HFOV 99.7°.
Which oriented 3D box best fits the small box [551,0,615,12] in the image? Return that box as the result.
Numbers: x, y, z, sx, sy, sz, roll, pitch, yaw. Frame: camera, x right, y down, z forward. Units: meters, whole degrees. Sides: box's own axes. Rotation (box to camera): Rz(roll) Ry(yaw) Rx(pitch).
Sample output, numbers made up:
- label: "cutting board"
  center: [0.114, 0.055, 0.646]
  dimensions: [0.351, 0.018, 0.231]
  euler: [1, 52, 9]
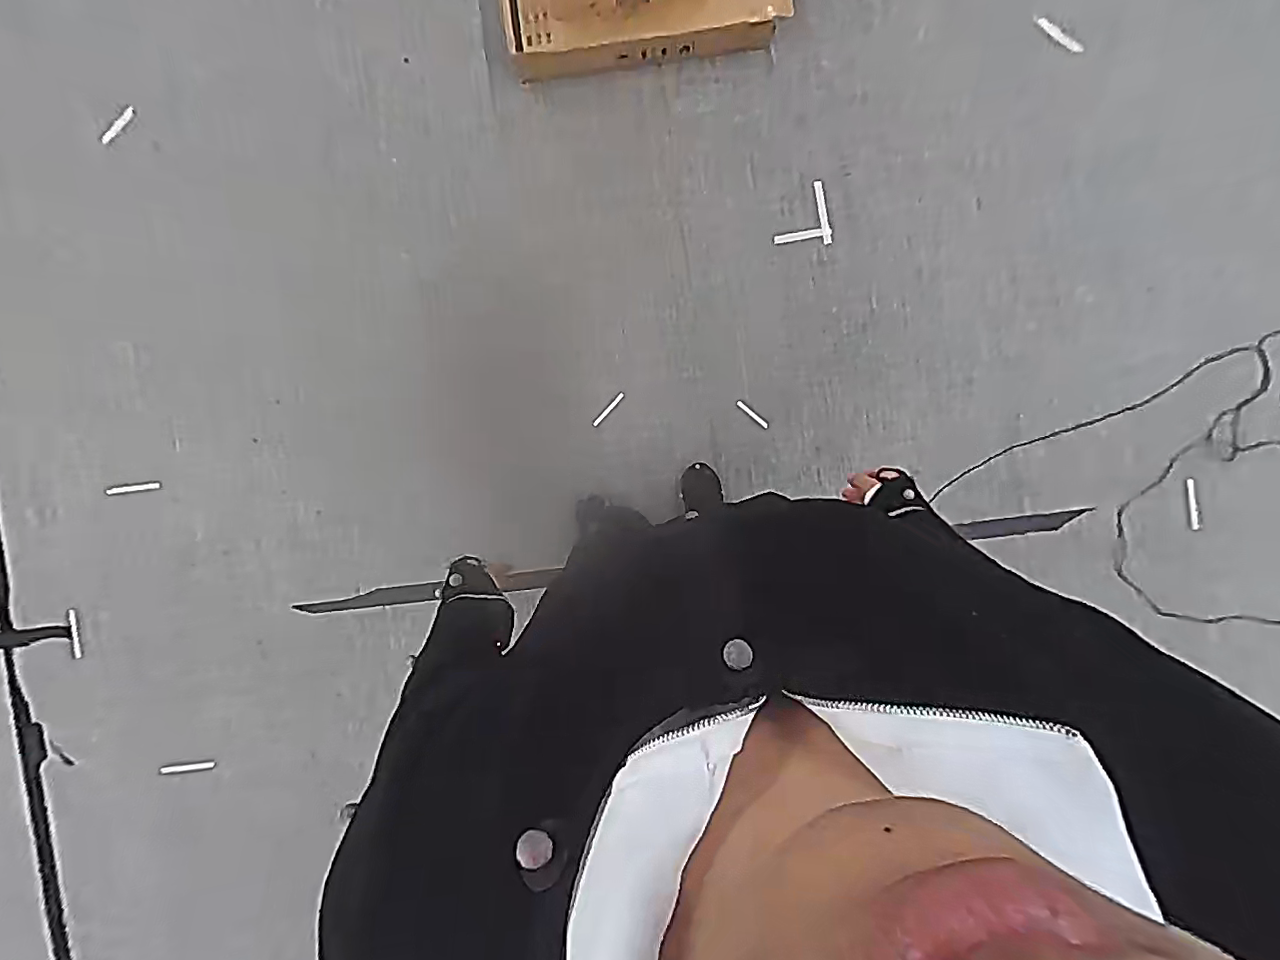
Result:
- label: "small box"
  center: [-0.154, -1.277, 1.300]
  dimensions: [0.168, 0.176, 0.179]
  euler: [-10, 91, 1]
